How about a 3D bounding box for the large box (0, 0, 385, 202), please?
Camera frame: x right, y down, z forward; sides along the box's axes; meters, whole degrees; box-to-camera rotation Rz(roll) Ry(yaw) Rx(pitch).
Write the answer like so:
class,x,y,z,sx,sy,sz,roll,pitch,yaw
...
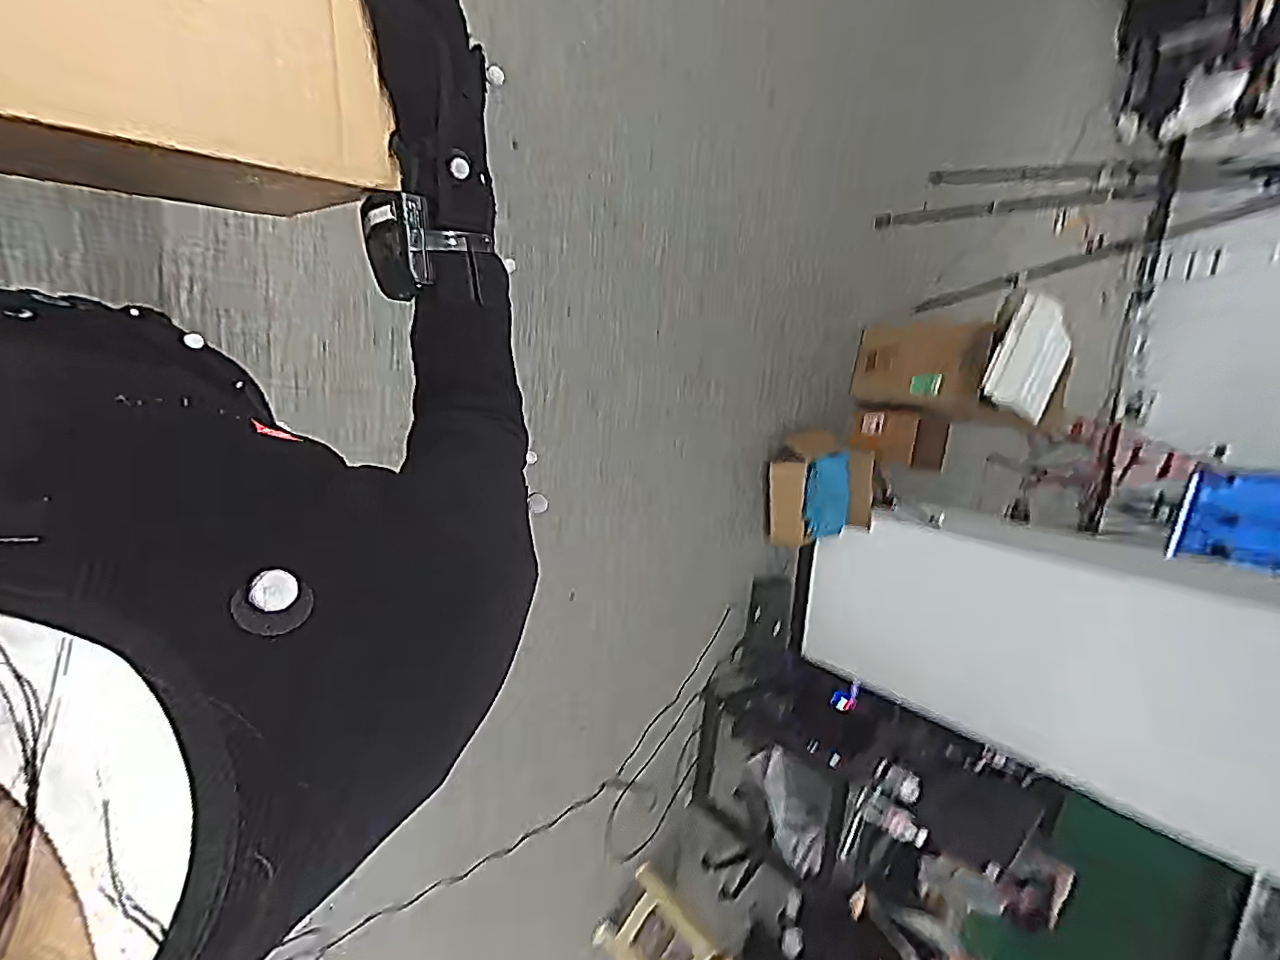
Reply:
class,x,y,z,sx,sy,sz,roll,pitch,yaw
large box,-0.419,-0.362,0.300,0.408,0.320,0.320,-15,117,-43
